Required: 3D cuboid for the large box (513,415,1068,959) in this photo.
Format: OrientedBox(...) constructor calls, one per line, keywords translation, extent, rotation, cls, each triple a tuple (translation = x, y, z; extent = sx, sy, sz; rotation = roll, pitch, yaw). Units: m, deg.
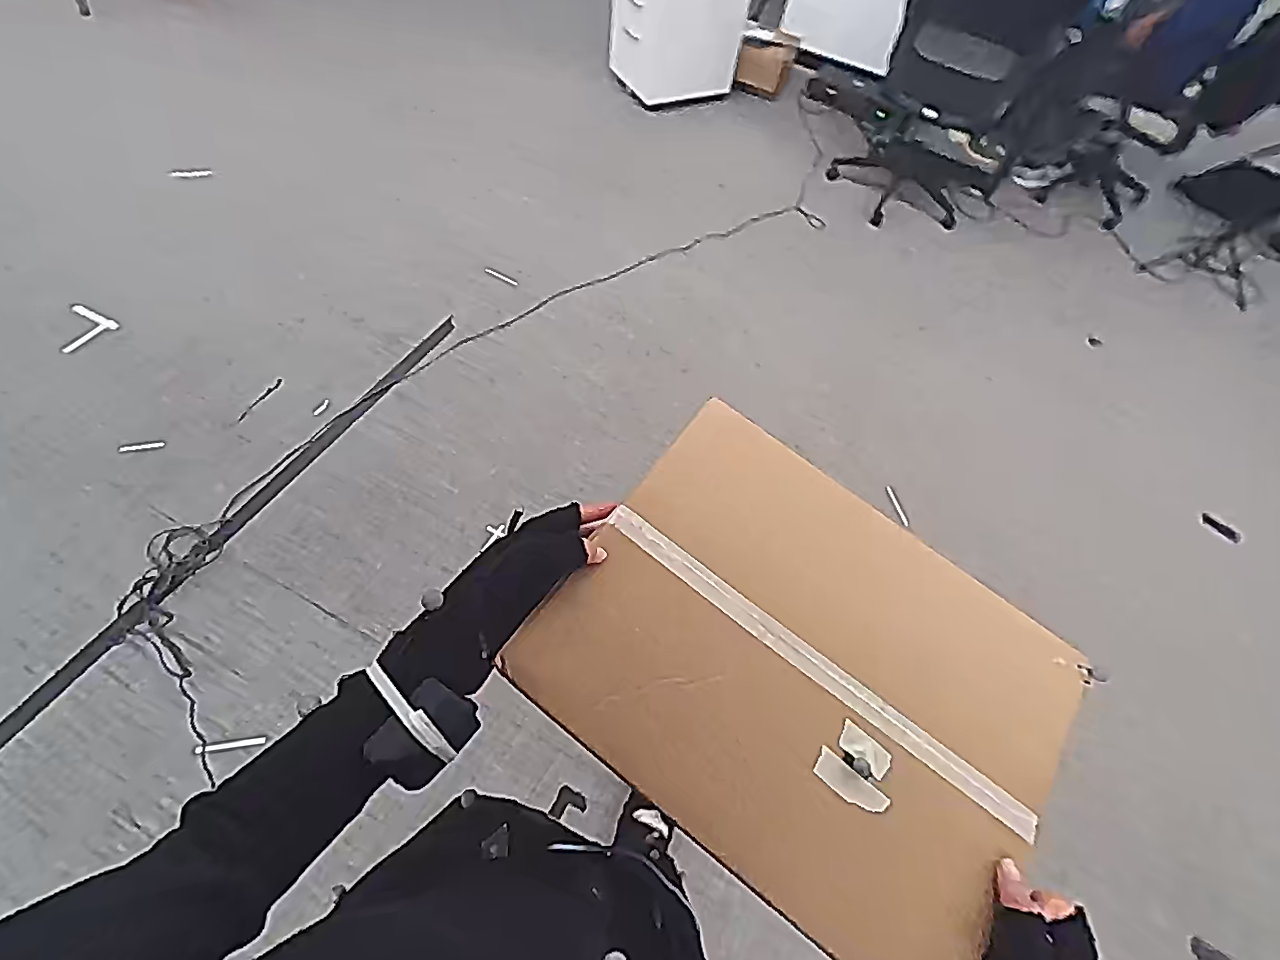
OrientedBox(translation=(0.122, 0.210, 0.593), extent=(0.408, 0.320, 0.320), rotation=(37, 69, 8), cls="large box")
